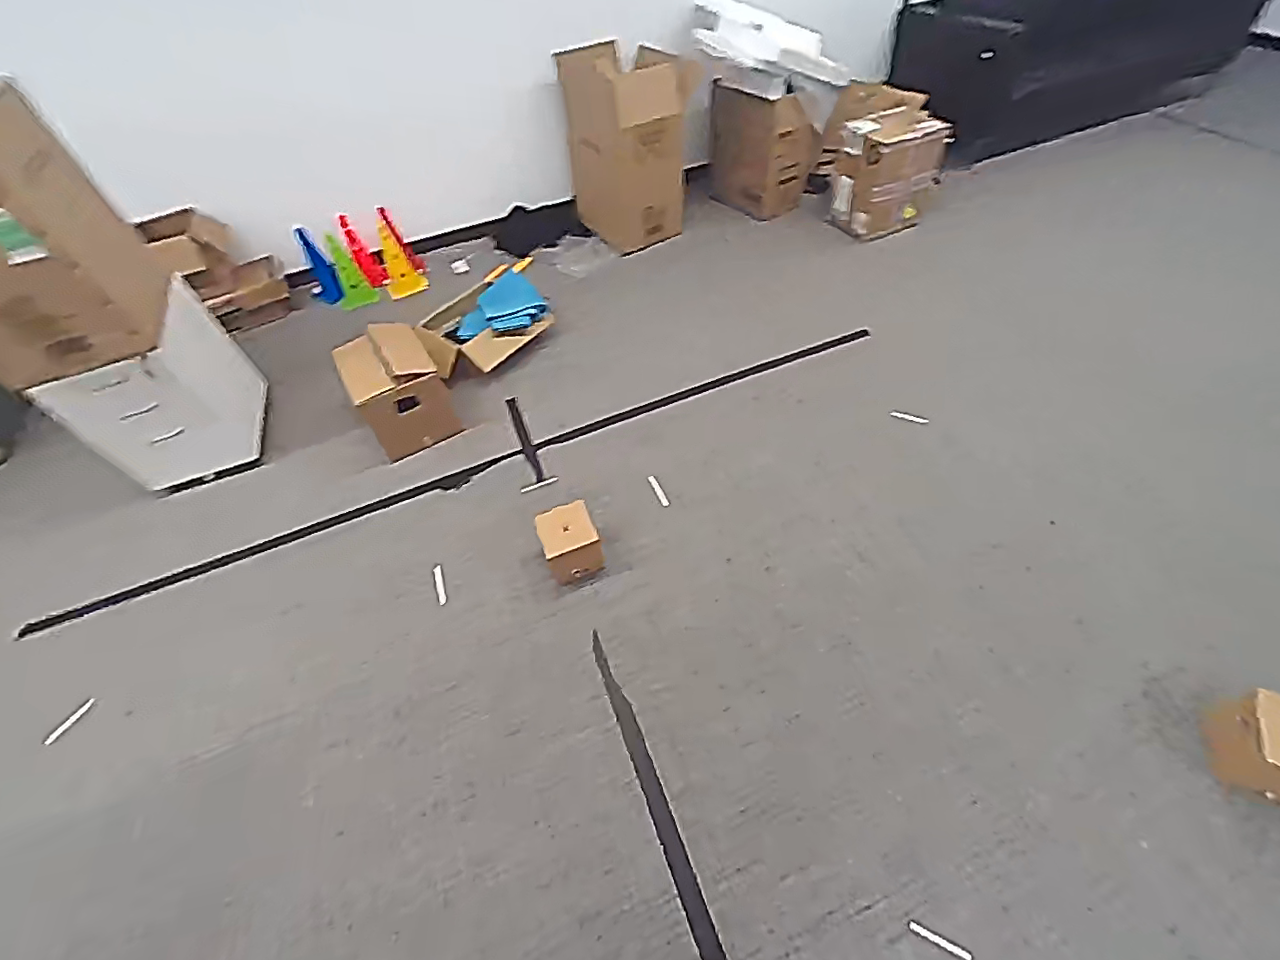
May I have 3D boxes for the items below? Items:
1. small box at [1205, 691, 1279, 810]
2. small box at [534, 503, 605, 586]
[{"bbox_3d":[1.430,0.614,1.215,0.168,0.176,0.179,19,55,21],"label":"small box"},{"bbox_3d":[-0.224,0.209,1.735,0.168,0.176,0.179,-21,52,-10],"label":"small box"}]
